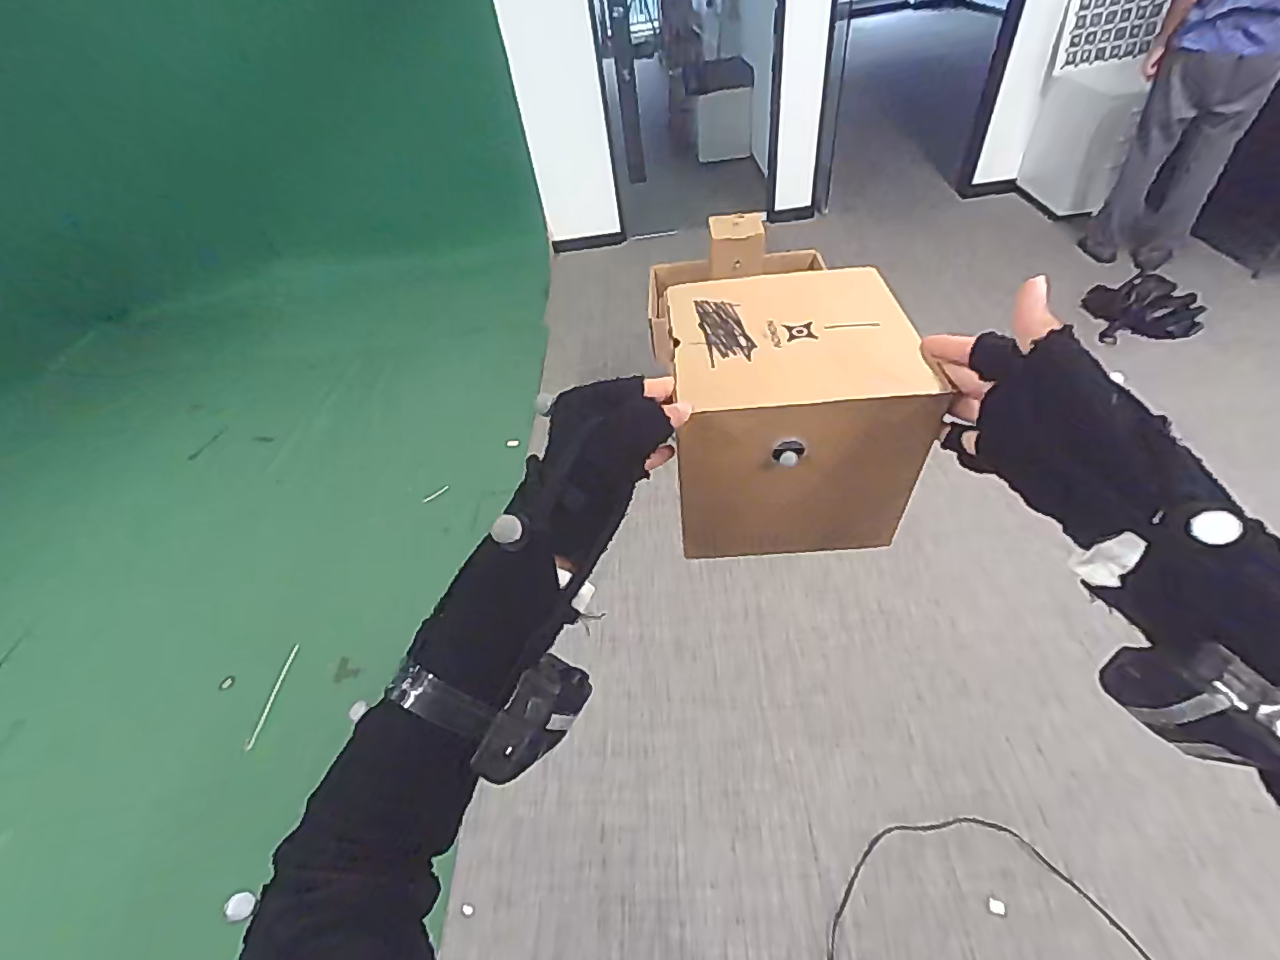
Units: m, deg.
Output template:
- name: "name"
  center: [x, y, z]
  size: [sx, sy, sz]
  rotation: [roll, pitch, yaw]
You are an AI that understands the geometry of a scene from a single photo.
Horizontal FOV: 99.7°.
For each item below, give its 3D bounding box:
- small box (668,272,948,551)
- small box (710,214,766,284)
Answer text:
- name: "small box"
  center: [0.119, -0.052, 0.459]
  size: [0.179, 0.176, 0.168]
  rotation: [-4, 48, 3]
- name: "small box"
  center: [0.323, -0.763, 1.803]
  size: [0.168, 0.176, 0.179]
  rotation: [-3, 47, 4]
